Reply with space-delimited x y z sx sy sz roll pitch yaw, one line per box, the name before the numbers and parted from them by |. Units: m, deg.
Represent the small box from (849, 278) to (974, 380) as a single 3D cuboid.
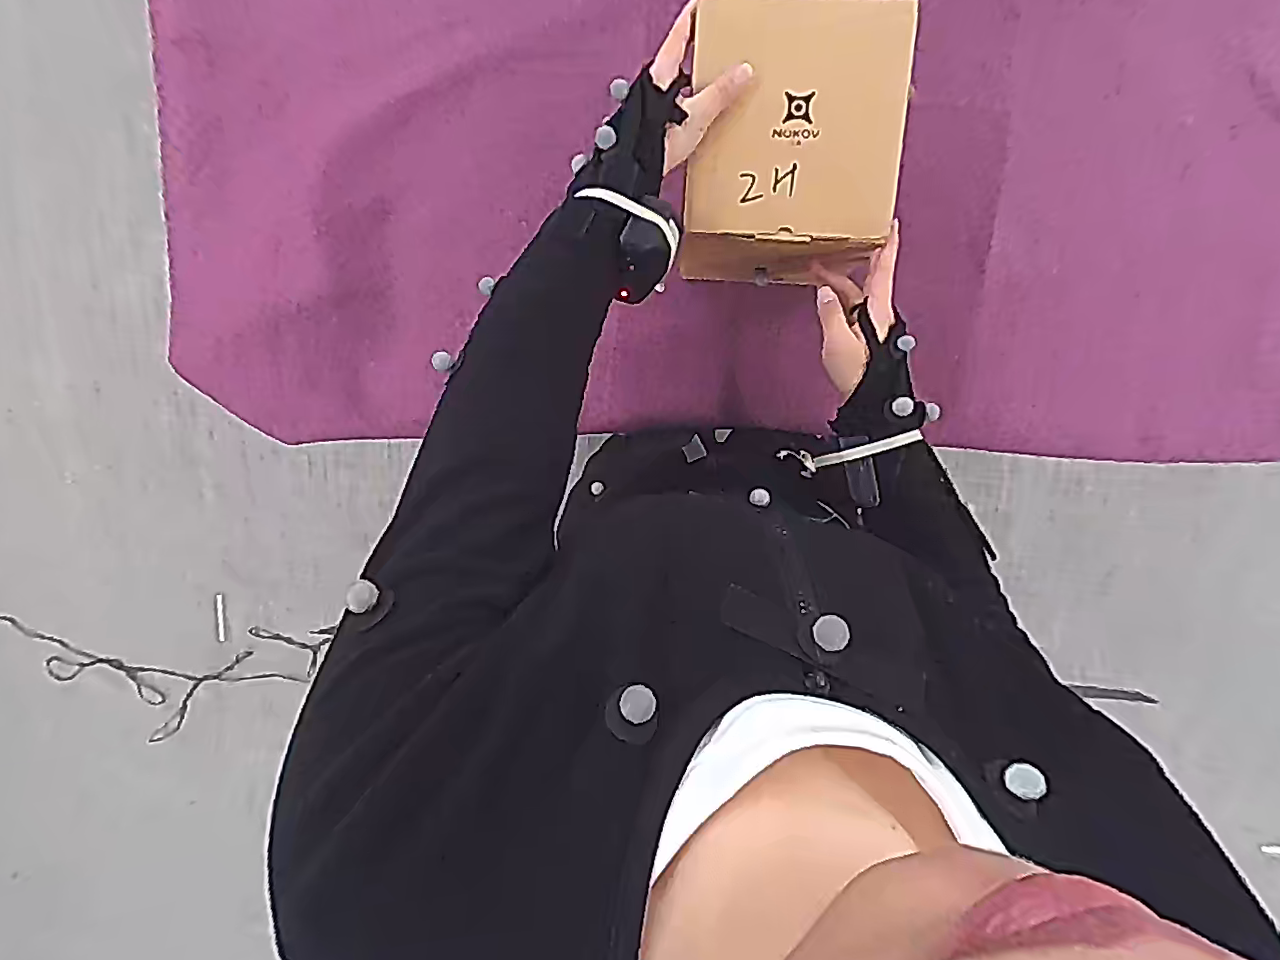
small box | 0.529 -0.293 1.079 0.168 0.176 0.179 4 99 4
